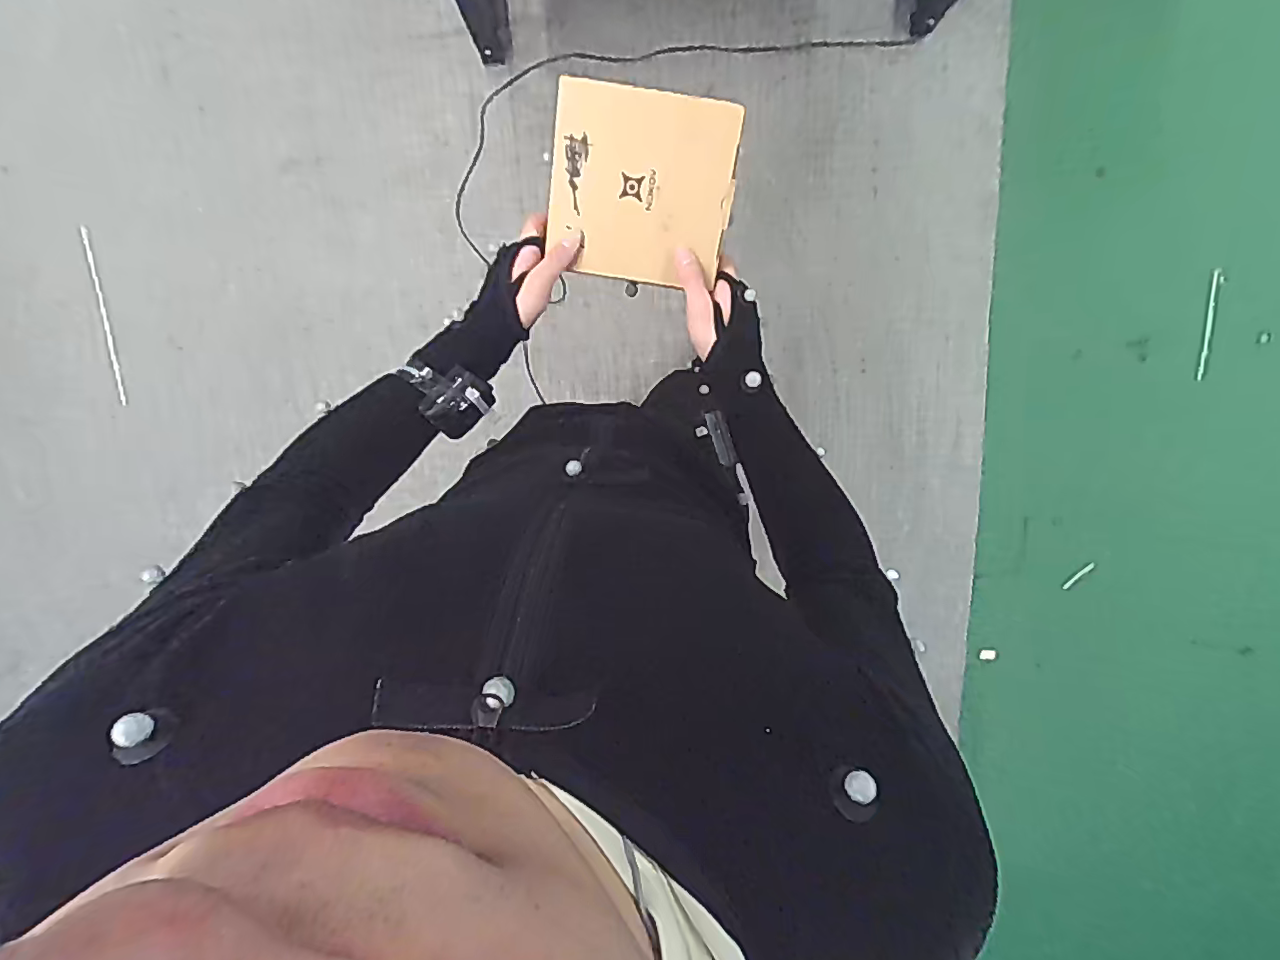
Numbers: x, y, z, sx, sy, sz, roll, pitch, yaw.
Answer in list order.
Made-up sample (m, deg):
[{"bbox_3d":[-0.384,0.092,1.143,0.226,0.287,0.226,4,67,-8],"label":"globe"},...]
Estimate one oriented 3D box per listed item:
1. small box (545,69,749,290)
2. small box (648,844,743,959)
[{"bbox_3d":[0.002,-0.306,0.588,0.179,0.176,0.168,8,109,-3],"label":"small box"},{"bbox_3d":[0.109,0.897,1.130,0.179,0.176,0.168,0,99,-1],"label":"small box"}]
